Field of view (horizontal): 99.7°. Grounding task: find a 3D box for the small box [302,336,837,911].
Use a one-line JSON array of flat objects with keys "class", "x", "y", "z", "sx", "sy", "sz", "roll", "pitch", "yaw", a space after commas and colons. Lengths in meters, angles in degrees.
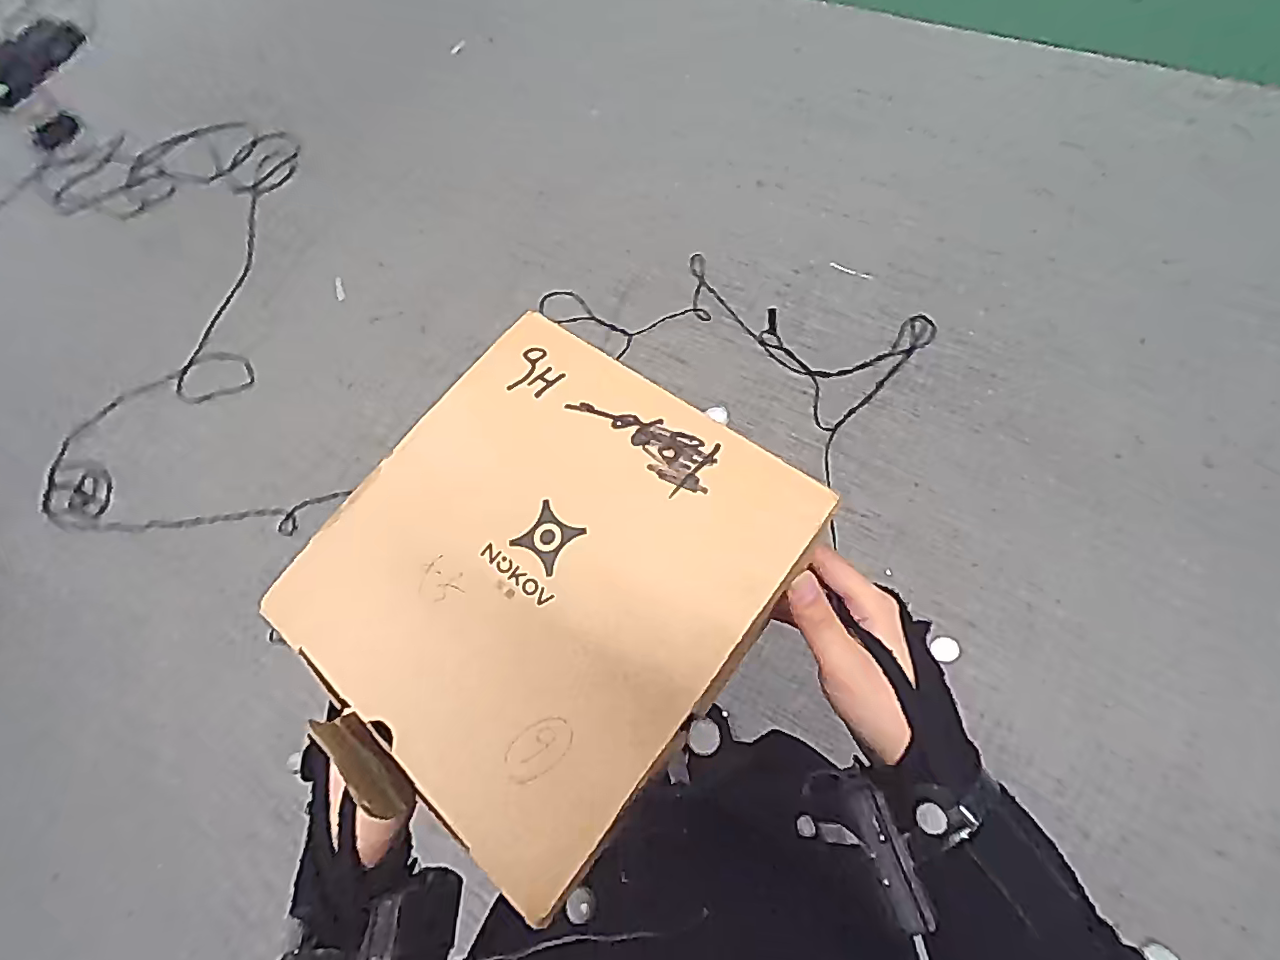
[{"class": "small box", "x": -0.021, "y": 0.065, "z": 0.296, "sx": 0.168, "sy": 0.176, "sz": 0.179, "roll": 35, "pitch": 79, "yaw": 20}]
